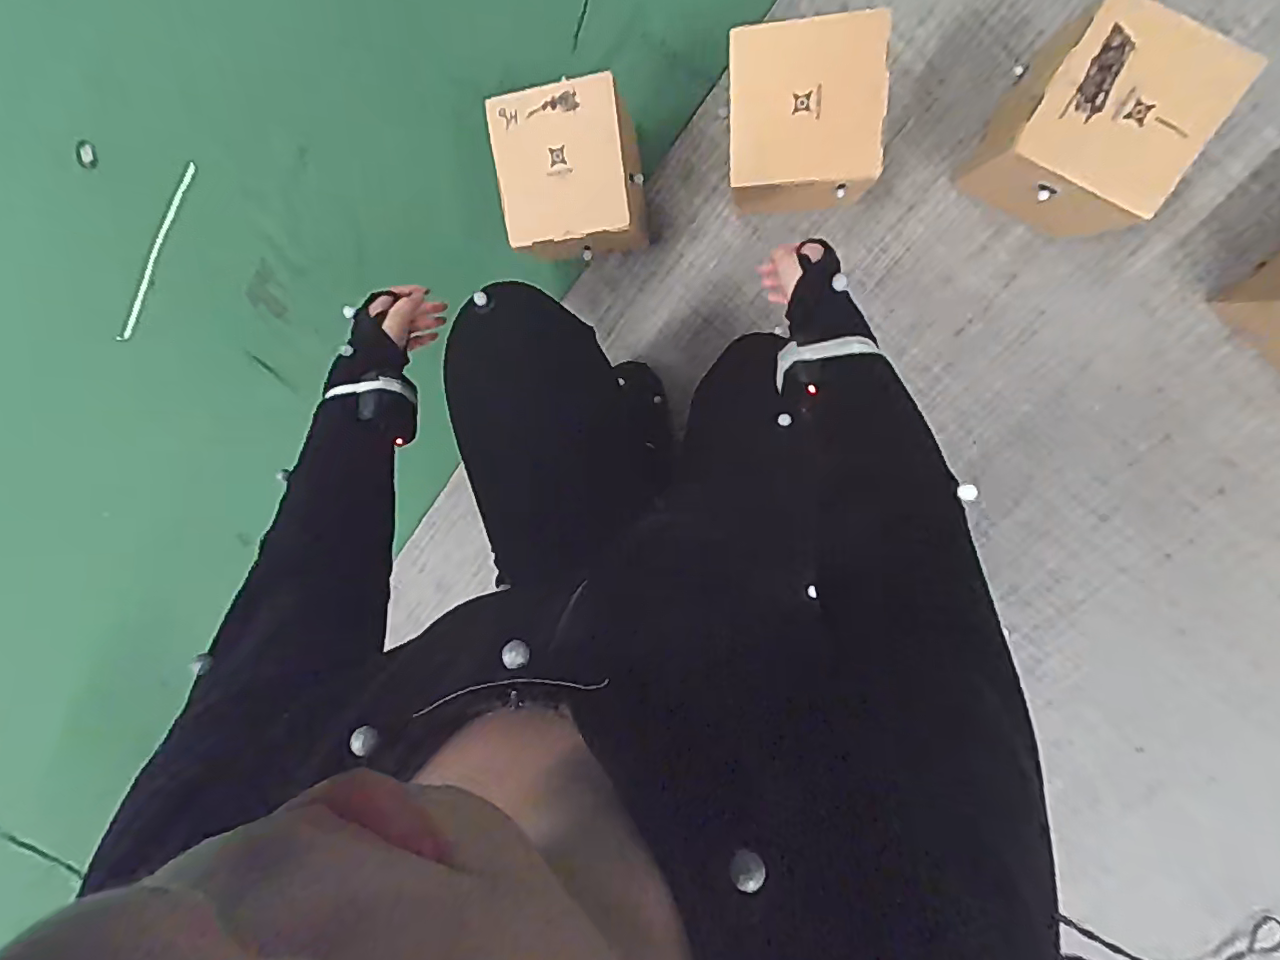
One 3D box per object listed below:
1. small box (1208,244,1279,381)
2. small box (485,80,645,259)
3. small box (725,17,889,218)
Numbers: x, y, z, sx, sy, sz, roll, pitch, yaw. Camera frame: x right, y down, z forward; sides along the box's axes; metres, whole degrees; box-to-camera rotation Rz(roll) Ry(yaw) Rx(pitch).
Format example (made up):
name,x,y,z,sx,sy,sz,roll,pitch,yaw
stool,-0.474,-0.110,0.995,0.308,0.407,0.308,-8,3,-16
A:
name,x,y,z,sx,sy,sz,roll,pitch,yaw
small box,0.875,-0.213,0.648,0.179,0.176,0.168,40,108,-3
small box,-0.091,-0.411,0.753,0.168,0.176,0.179,-4,106,10
small box,0.200,-0.446,0.697,0.179,0.176,0.168,0,105,9
